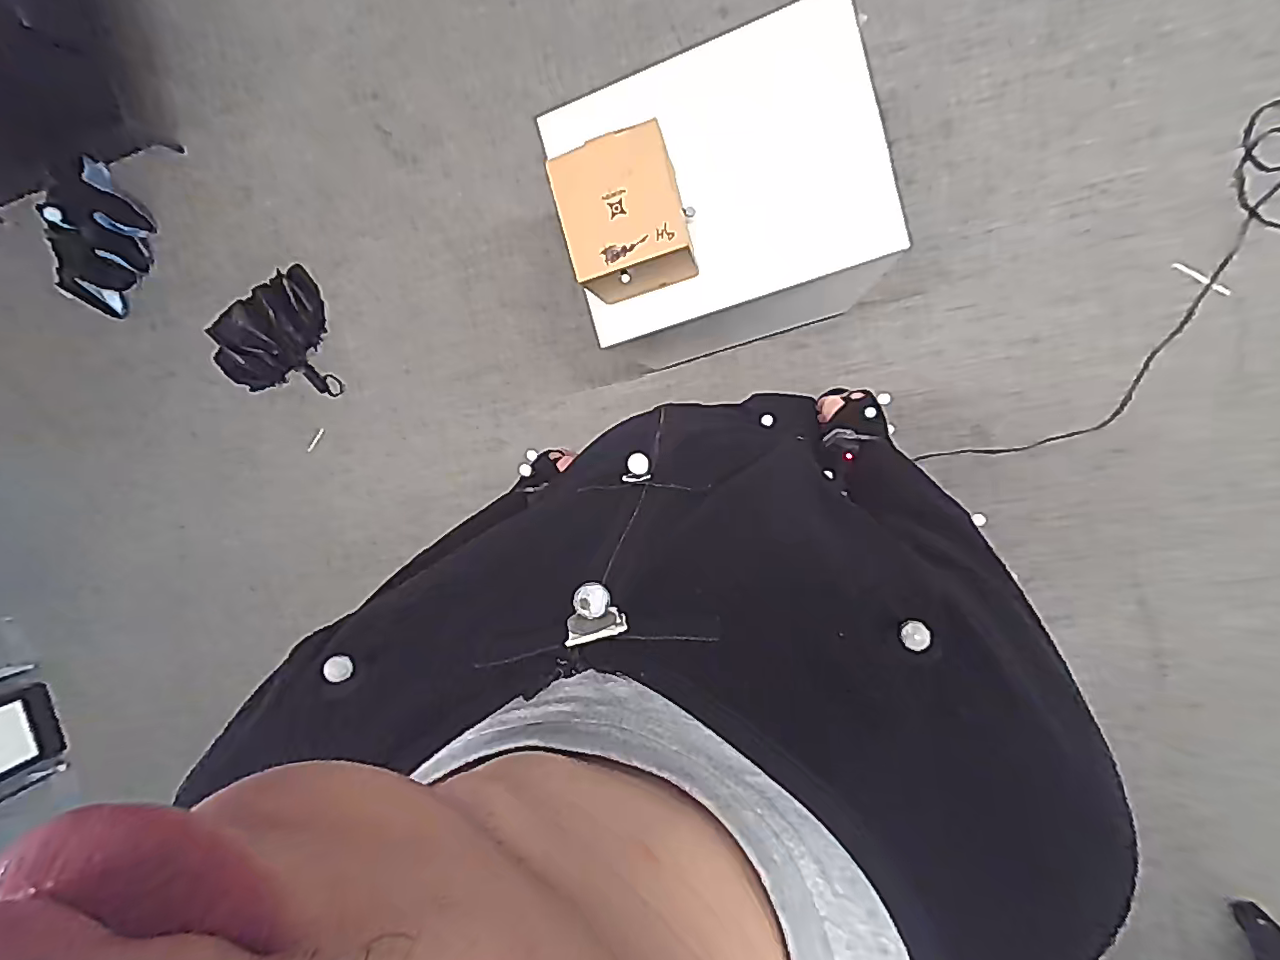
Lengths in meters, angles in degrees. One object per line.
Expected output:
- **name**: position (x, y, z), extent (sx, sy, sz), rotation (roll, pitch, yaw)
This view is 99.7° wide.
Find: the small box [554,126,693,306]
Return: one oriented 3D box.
- **small box**: position (-0.017, -0.387, 0.825), extent (0.168, 0.176, 0.179), rotation (-12, 94, 8)
